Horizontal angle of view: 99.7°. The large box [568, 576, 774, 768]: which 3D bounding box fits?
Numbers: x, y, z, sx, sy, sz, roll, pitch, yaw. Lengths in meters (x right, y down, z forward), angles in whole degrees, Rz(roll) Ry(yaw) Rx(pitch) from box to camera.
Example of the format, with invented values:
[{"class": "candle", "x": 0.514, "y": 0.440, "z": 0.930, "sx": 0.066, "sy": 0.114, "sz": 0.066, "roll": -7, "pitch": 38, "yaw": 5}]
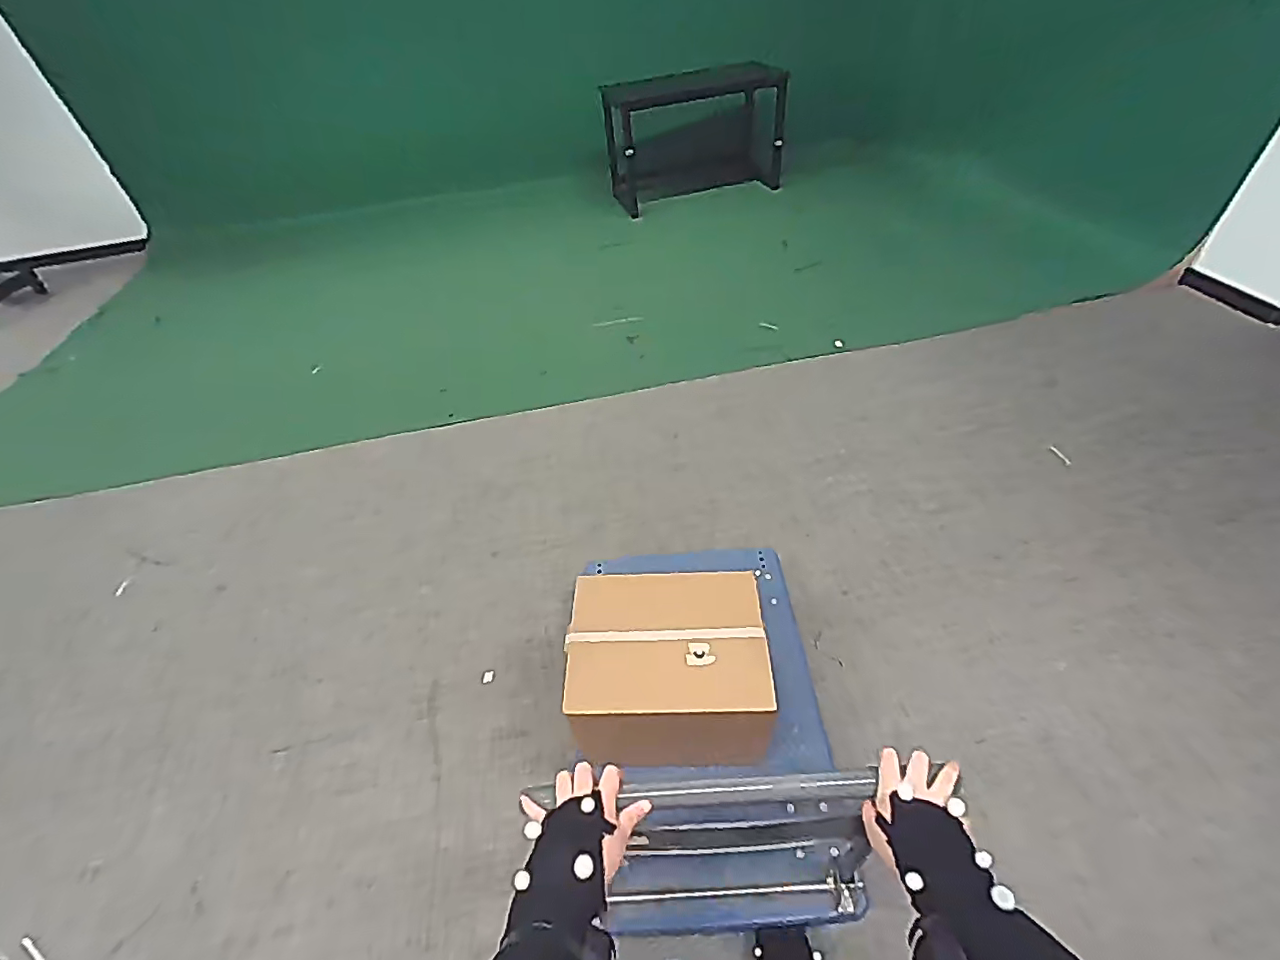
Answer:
[{"class": "large box", "x": 0.064, "y": 0.442, "z": 1.241, "sx": 0.408, "sy": 0.320, "sz": 0.320, "roll": -2, "pitch": 45, "yaw": 2}]
